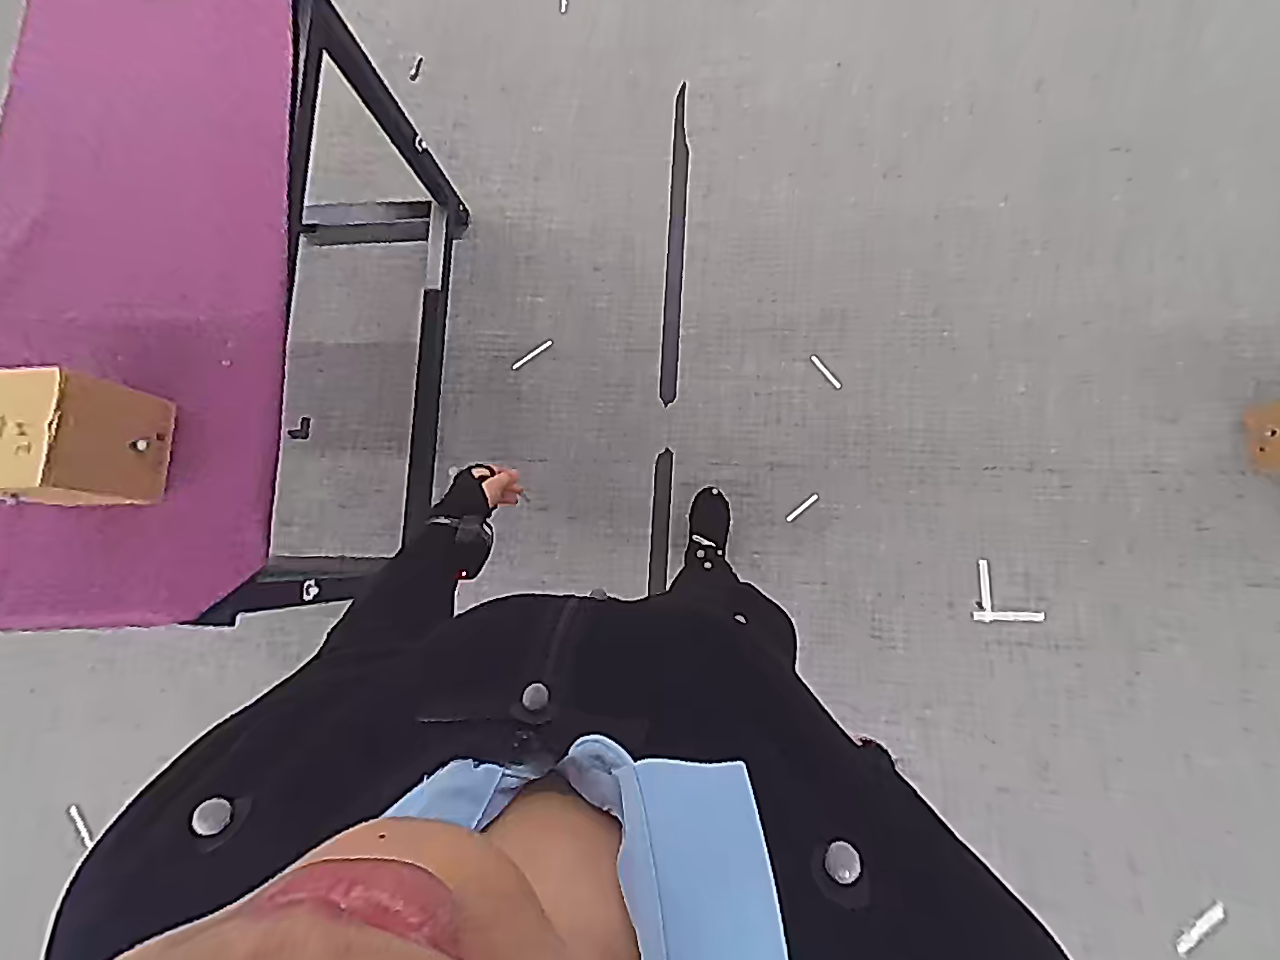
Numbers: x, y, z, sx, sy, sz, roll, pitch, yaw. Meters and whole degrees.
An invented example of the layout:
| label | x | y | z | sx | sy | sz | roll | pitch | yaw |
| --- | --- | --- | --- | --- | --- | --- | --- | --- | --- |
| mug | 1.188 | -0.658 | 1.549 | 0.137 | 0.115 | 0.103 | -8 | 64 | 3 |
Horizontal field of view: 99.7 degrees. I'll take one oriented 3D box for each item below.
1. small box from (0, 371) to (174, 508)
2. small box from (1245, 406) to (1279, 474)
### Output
| label | x | y | z | sx | sy | sz | roll | pitch | yaw |
| --- | --- | --- | --- | --- | --- | --- | --- | --- | --- |
| small box | -0.849 | -0.050 | 0.791 | 0.179 | 0.176 | 0.168 | -1 | 80 | 5 |
| small box | 1.669 | -0.111 | 1.322 | 0.179 | 0.176 | 0.168 | -4 | 81 | 5 |
